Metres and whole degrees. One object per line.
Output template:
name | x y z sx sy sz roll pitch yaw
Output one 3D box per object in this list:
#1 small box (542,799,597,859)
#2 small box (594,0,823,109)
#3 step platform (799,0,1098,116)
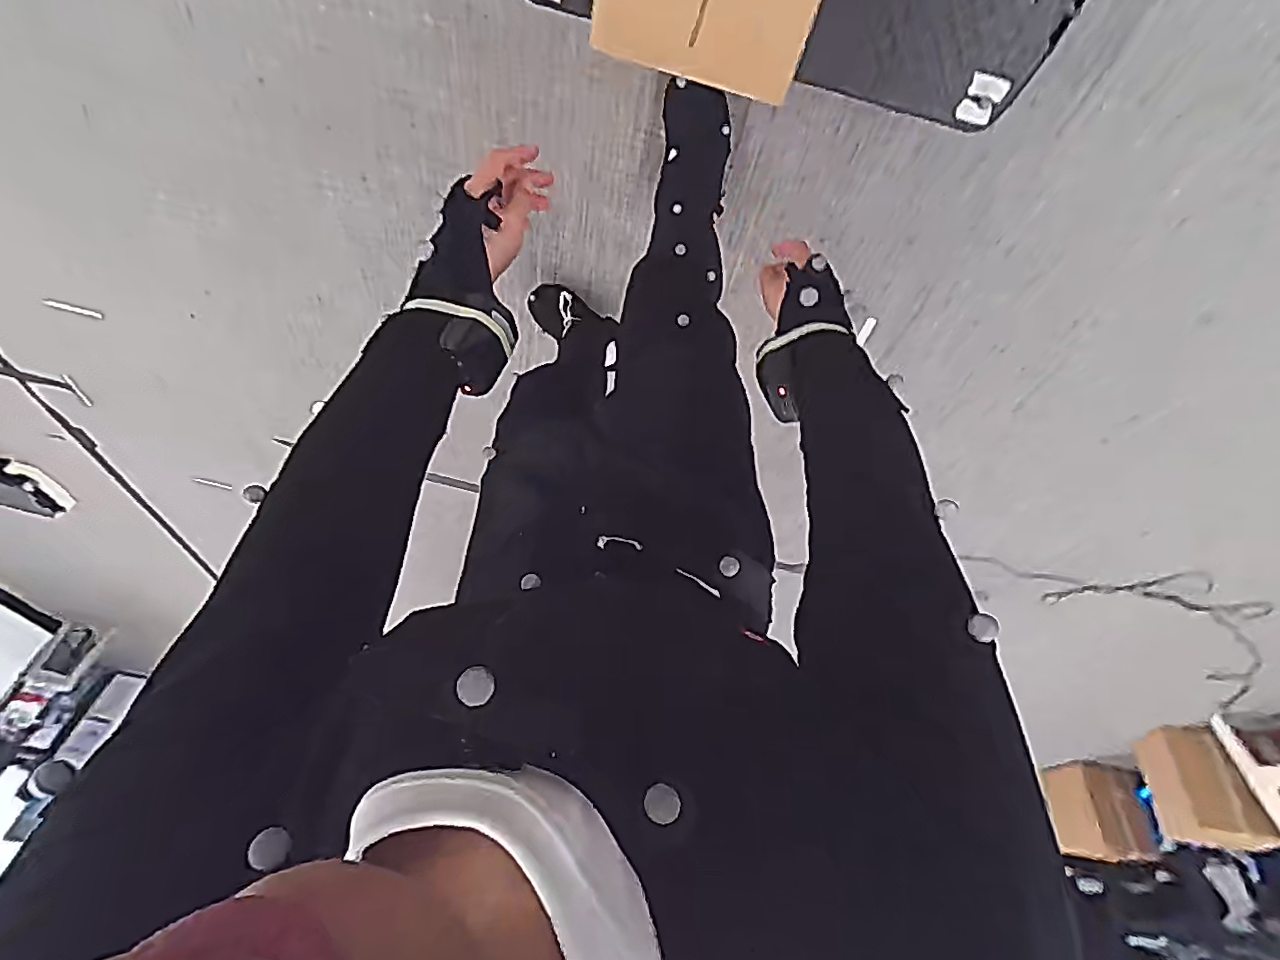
small box | -0.273 1.359 2.104 0.179 0.176 0.168 15 141 -3
small box | 0.071 -0.442 0.429 0.168 0.176 0.179 15 141 -4
step platform | 0.209 -0.687 0.636 0.684 0.204 0.286 14 141 -3
